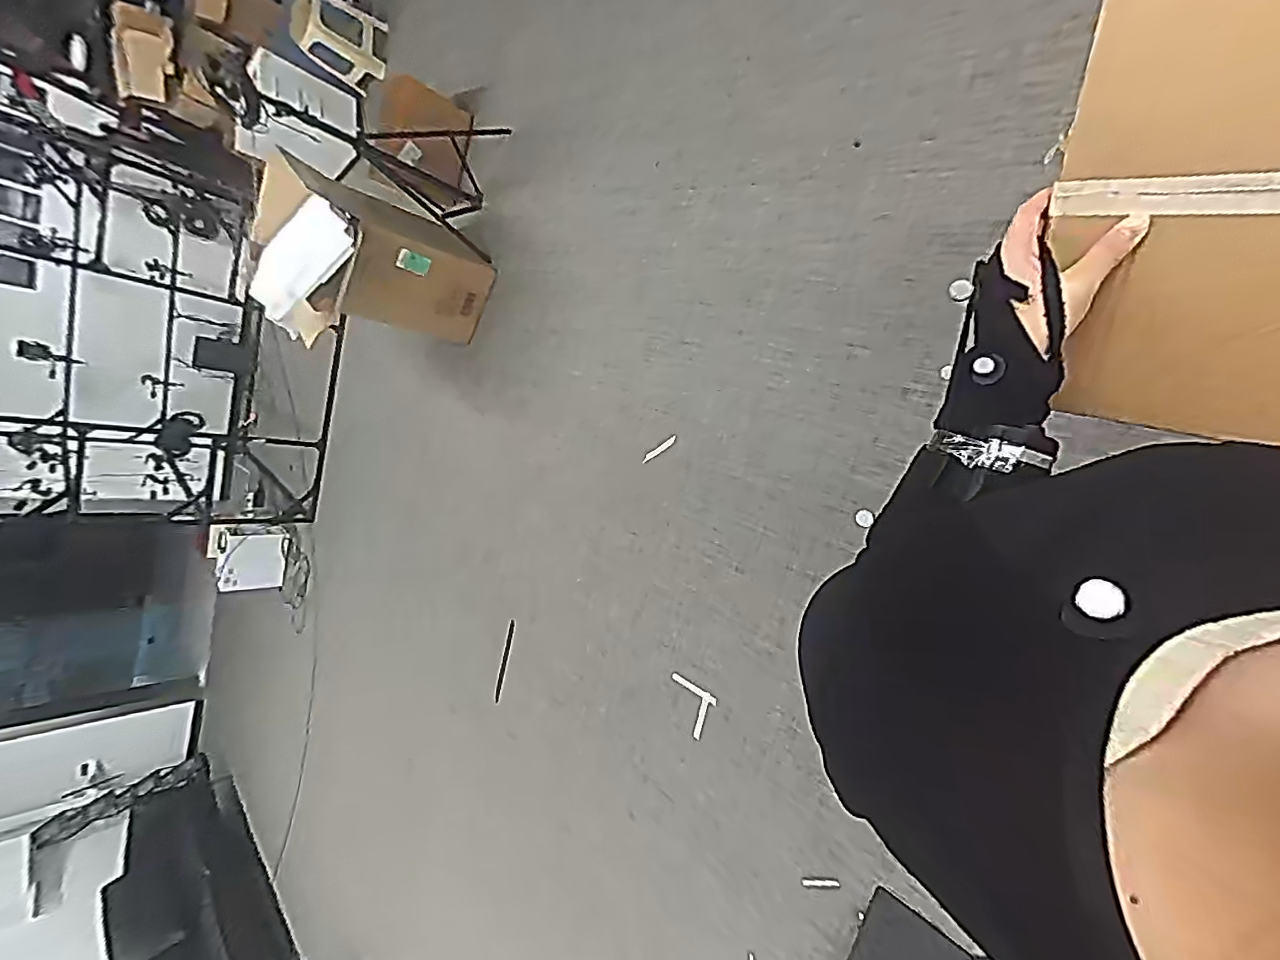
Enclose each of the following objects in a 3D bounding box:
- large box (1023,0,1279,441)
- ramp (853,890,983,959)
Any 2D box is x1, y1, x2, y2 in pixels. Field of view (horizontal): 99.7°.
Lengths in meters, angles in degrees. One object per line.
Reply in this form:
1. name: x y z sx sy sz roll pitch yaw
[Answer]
1. large box: 0.532 -0.212 0.322 0.408 0.320 0.320 22 137 41
2. ramp: 0.601 1.539 1.200 0.509 0.206 0.991 20 100 41
